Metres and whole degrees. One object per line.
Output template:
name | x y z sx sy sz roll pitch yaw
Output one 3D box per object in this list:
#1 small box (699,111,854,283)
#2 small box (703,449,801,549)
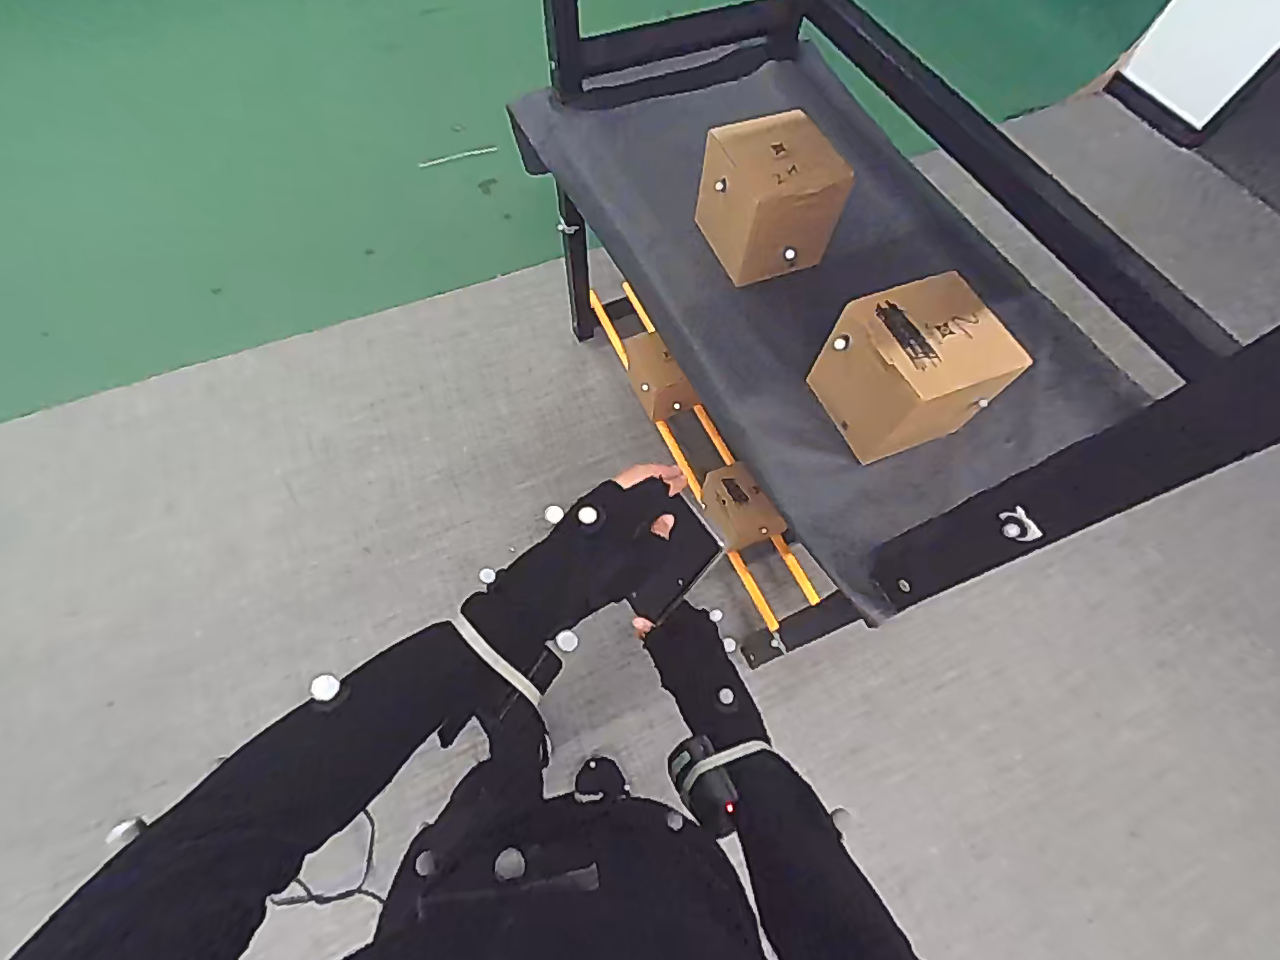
small box | 0.211 -0.464 0.896 0.168 0.176 0.179 -19 68 -11
small box | 0.266 0.054 1.345 0.179 0.176 0.168 -19 68 -11
